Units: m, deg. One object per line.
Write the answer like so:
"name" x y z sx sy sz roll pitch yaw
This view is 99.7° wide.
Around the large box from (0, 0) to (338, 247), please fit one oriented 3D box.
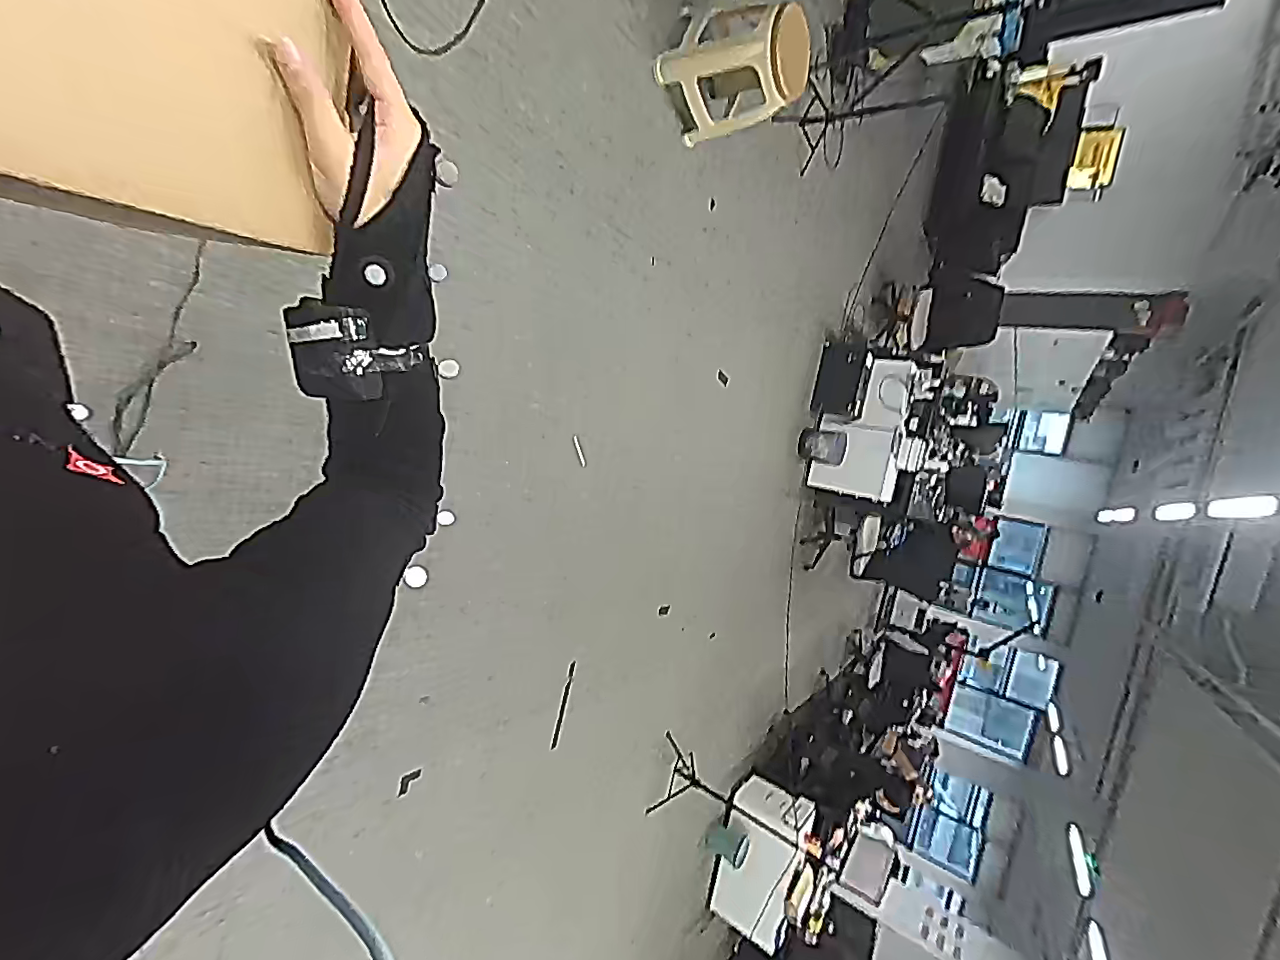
"large box" -0.407 -0.316 0.225 0.408 0.320 0.320 -9 115 -57
